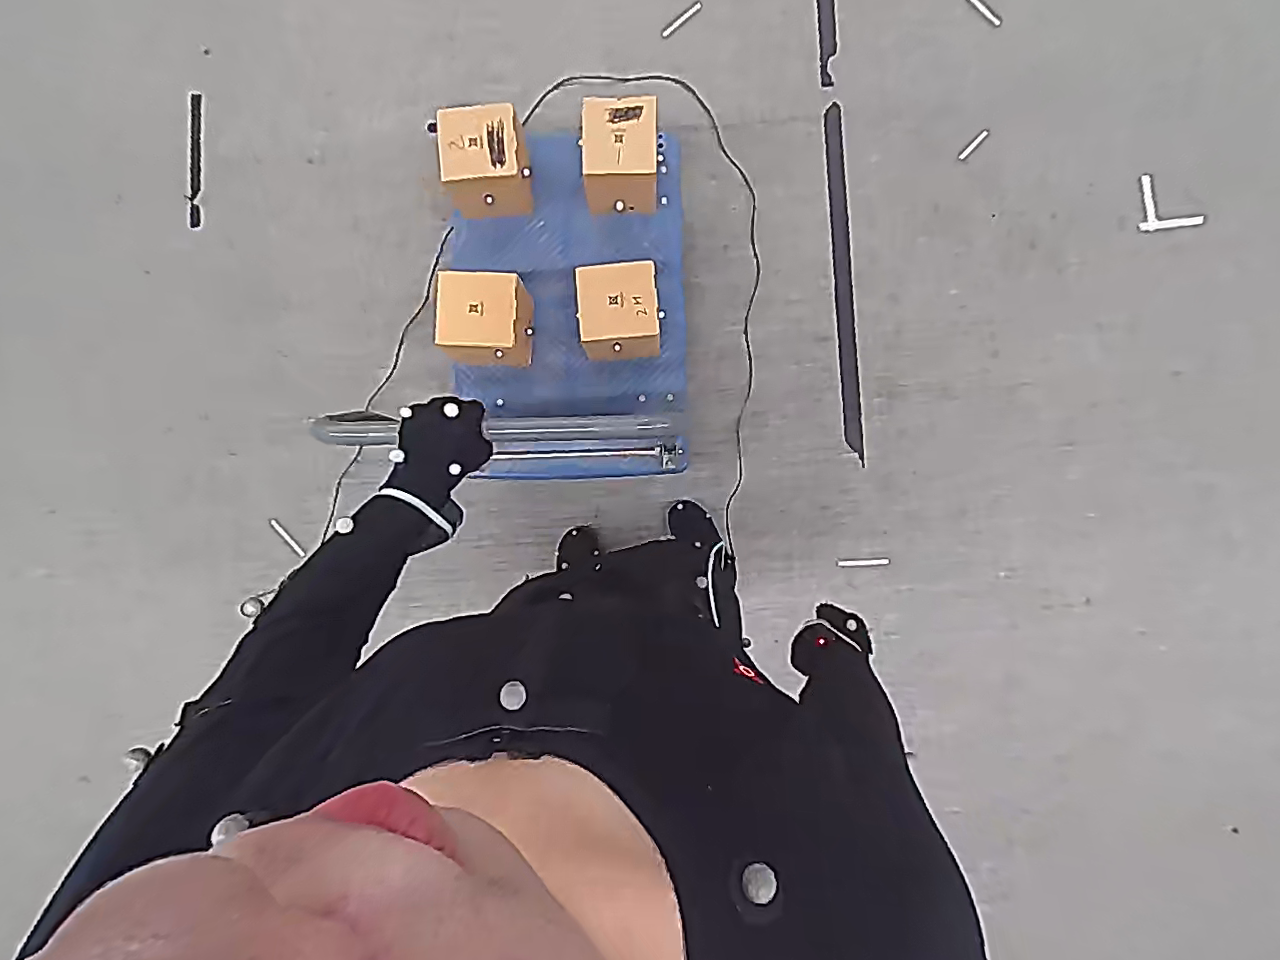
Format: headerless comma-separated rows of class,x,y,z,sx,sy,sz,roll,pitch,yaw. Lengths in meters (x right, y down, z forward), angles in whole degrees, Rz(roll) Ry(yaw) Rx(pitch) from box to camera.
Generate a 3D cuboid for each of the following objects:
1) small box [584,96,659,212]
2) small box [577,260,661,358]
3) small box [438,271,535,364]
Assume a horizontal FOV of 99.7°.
small box,-0.041,-0.757,1.267,0.168,0.176,0.179,0,89,1
small box,-0.043,-0.387,1.253,0.179,0.176,0.168,-4,88,1
small box,-0.352,-0.372,1.261,0.179,0.176,0.168,1,88,0
